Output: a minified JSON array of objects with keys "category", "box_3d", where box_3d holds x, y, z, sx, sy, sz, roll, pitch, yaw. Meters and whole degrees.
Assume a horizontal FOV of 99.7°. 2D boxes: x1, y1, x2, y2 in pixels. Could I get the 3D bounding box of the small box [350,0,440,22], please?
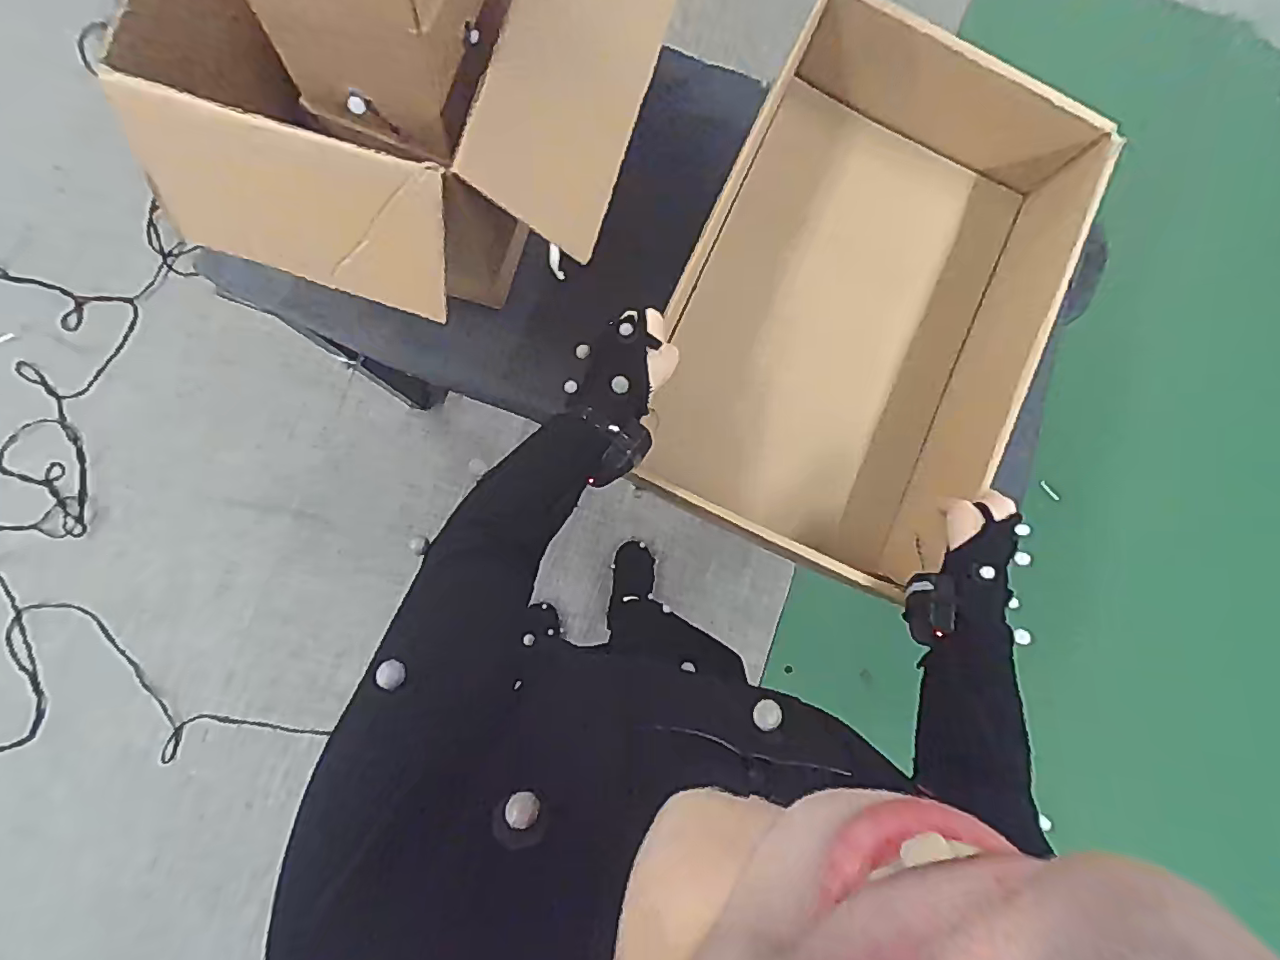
[{"category":"small box","box_3d":[-0.222,-0.485,0.376,0.179,0.176,0.168,20,82,-9]}]
